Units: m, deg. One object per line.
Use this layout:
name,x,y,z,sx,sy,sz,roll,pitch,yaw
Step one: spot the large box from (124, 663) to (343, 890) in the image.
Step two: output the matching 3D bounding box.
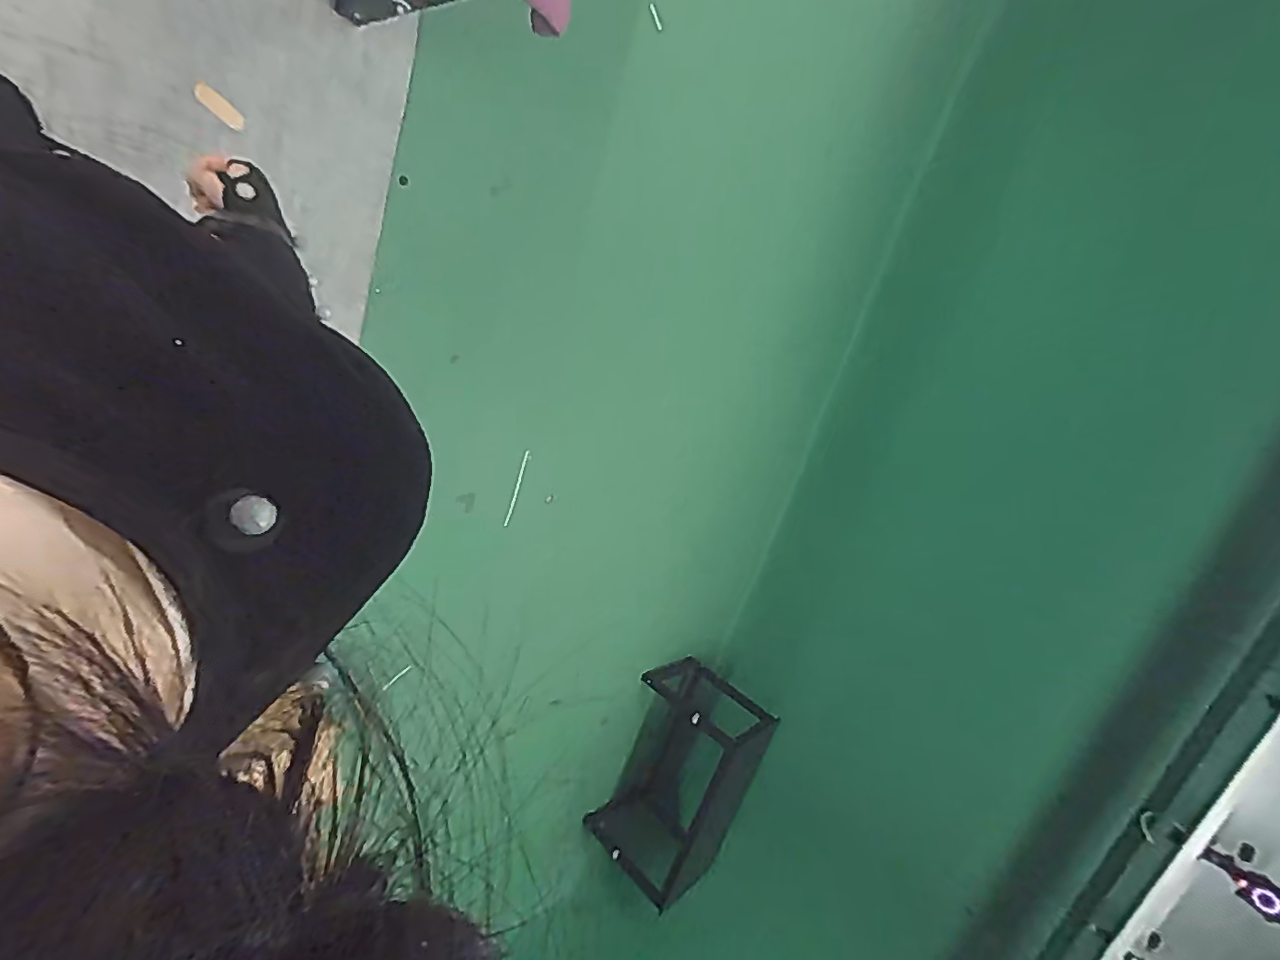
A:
large box,-1.118,0.796,1.517,0.408,0.320,0.320,-18,127,-45
